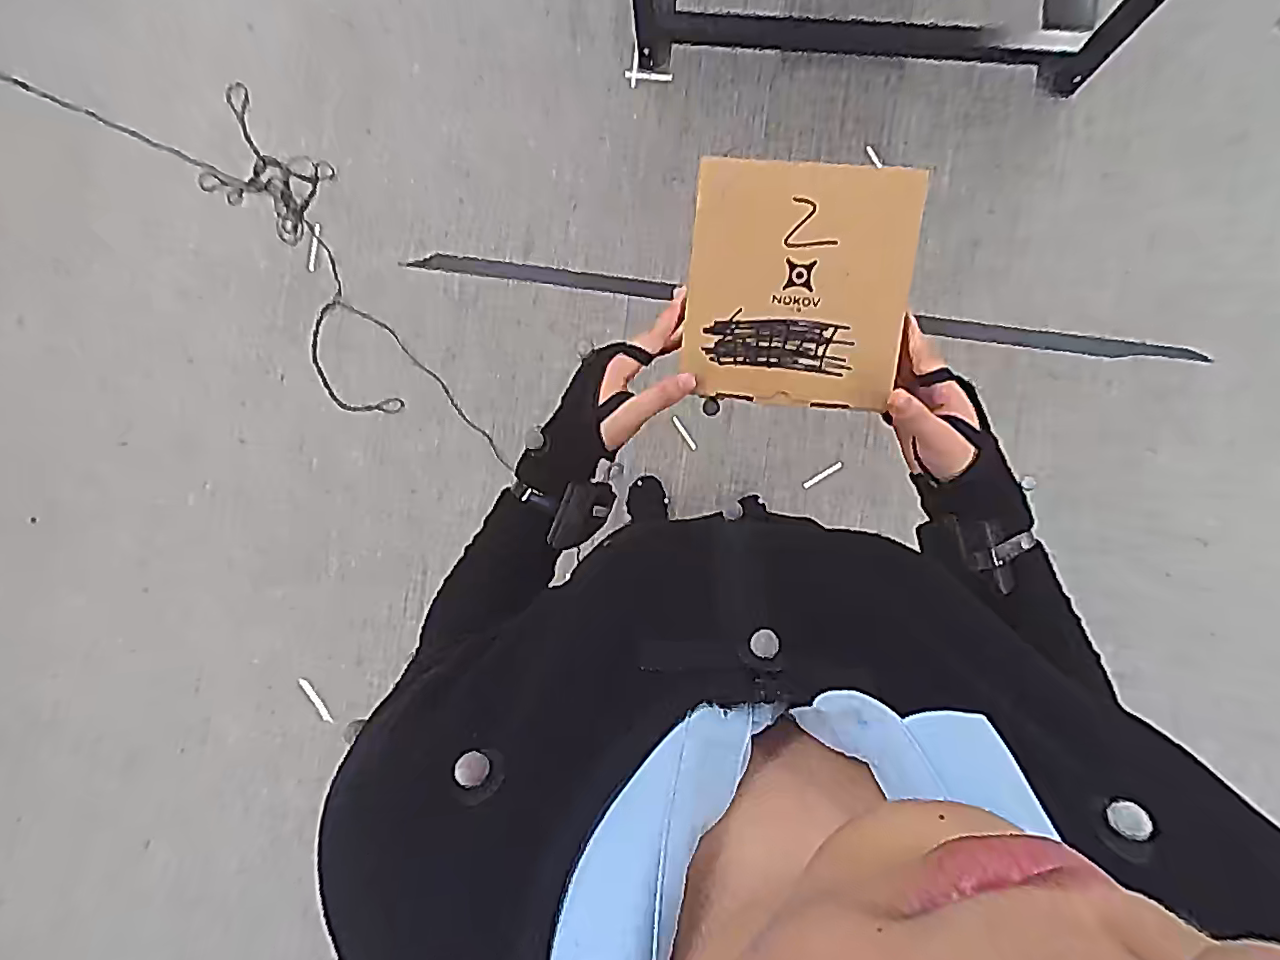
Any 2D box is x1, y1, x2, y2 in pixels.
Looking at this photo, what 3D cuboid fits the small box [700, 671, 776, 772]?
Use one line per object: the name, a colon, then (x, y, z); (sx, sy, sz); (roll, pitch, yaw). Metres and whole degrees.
small box: (0.240, 0.596, 1.358); (0.168, 0.176, 0.179); (5, 89, 6)
